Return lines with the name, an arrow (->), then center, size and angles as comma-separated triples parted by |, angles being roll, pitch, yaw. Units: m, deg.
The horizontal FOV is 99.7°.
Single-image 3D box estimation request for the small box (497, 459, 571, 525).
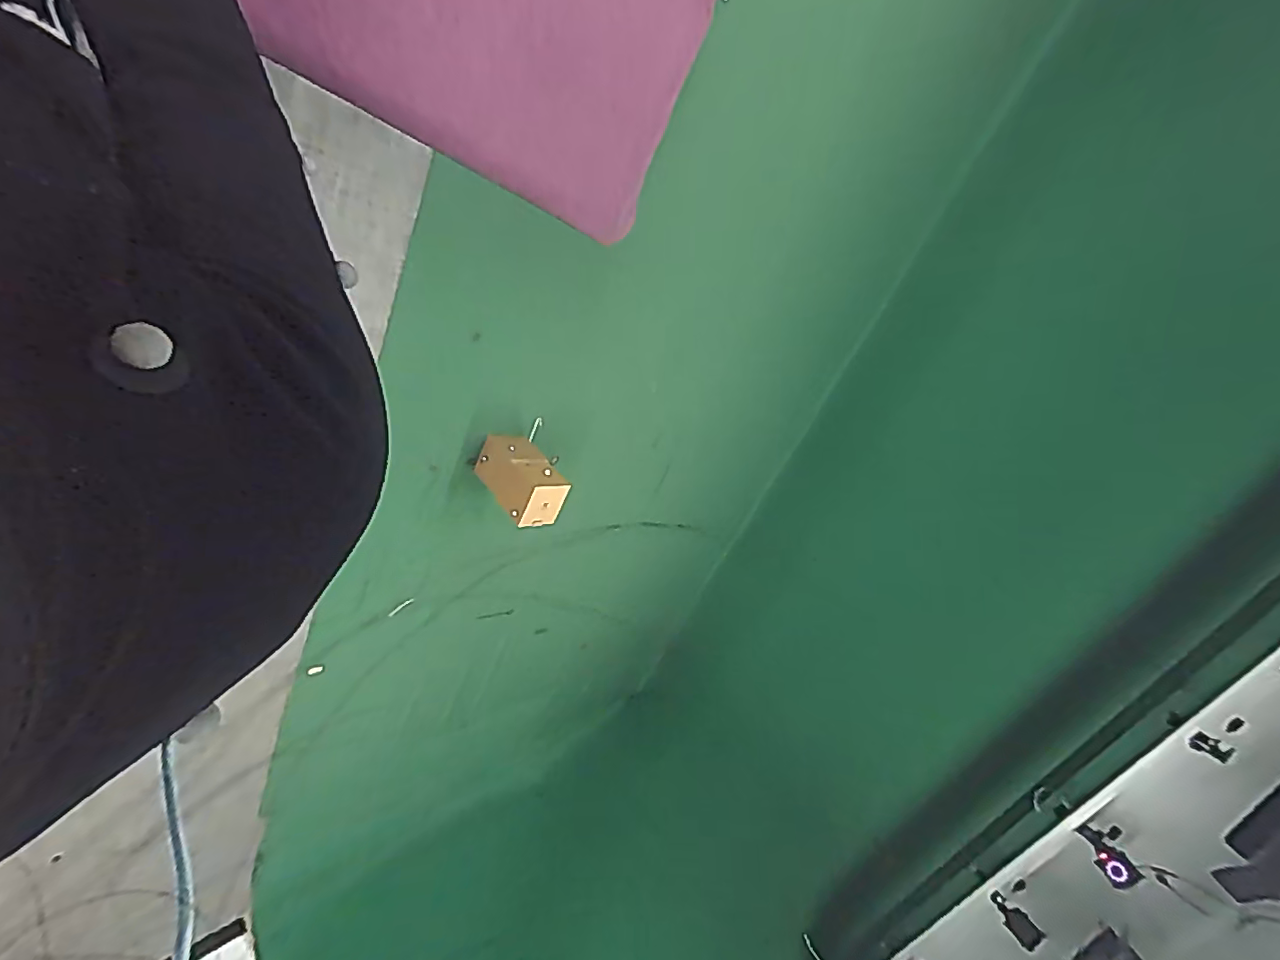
small box -> -0.386, 0.039, 1.944 | 0.168, 0.176, 0.179 | -2, 127, -50
